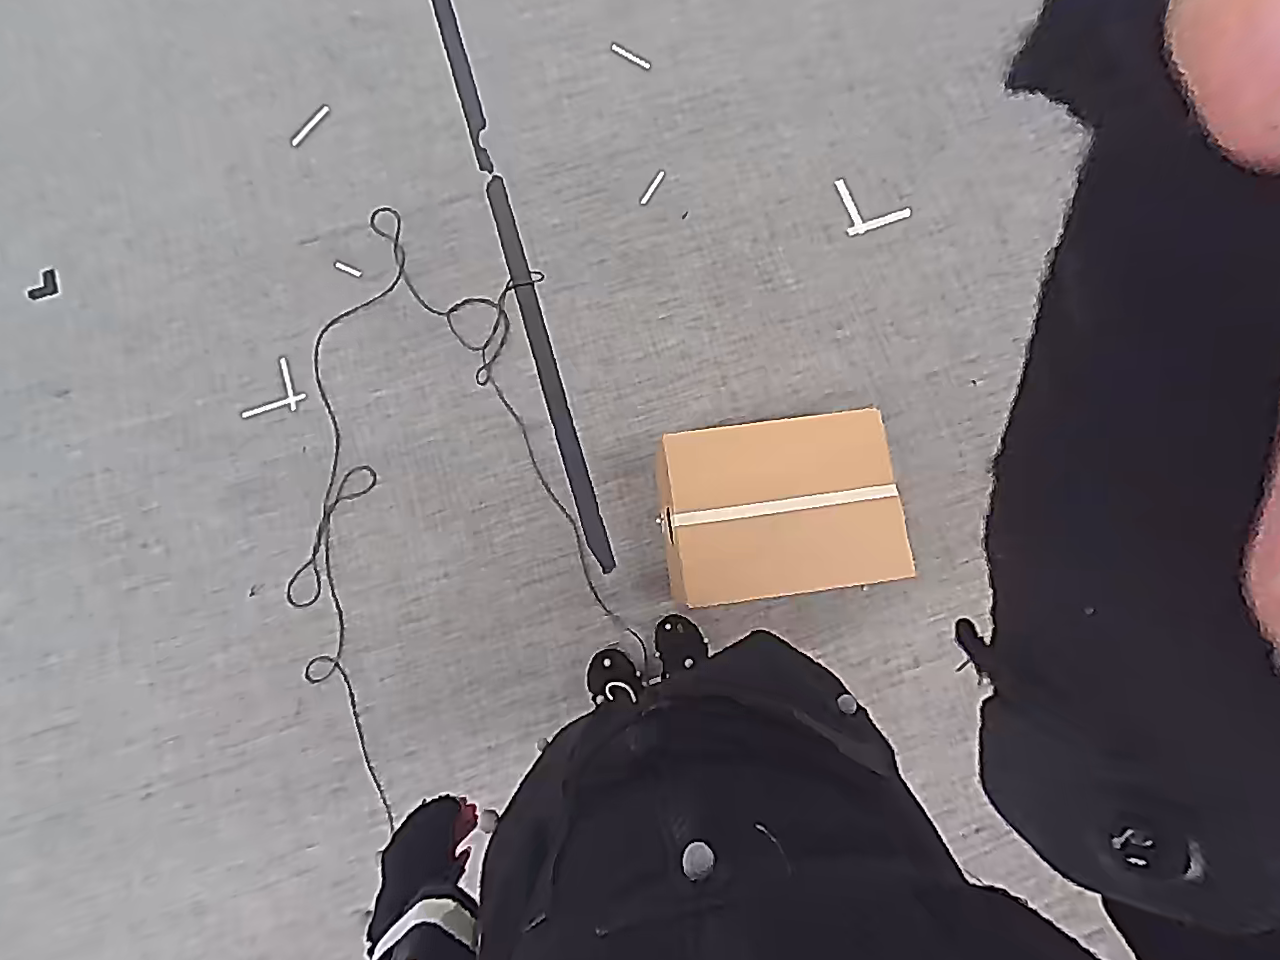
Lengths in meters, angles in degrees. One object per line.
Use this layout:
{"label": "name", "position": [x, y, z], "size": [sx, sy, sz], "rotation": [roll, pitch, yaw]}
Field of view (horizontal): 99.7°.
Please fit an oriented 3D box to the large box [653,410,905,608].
{"label": "large box", "position": [0.251, 0.069, 1.114], "size": [0.408, 0.320, 0.320], "rotation": [-7, 80, -2]}
